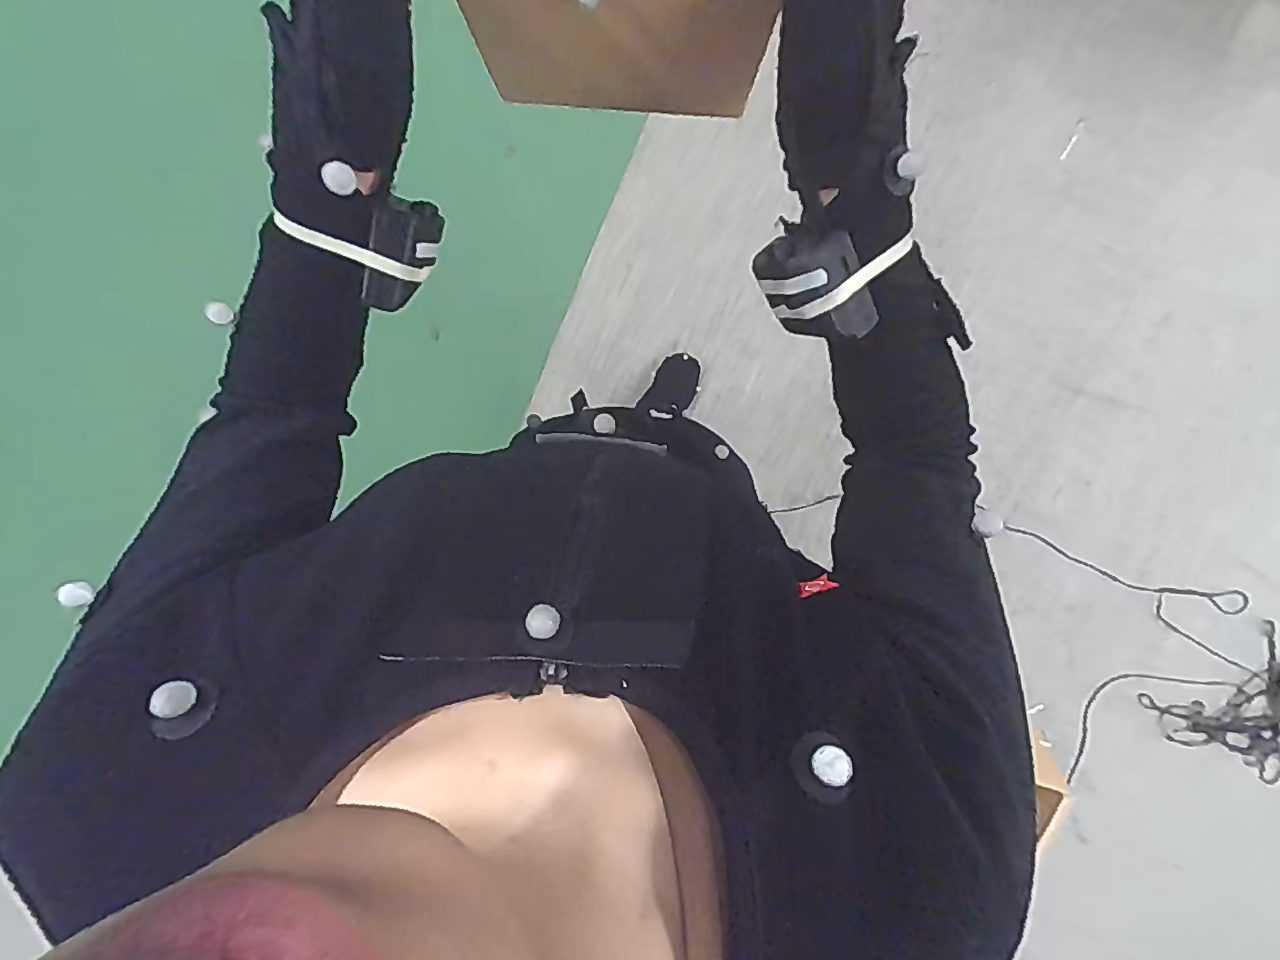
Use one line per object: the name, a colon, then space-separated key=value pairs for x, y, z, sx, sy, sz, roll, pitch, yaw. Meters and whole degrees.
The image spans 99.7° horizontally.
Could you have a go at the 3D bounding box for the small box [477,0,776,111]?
small box: x=-0.005 y=-0.338 z=0.299 sx=0.179 sy=0.176 sz=0.168 roll=4 pitch=99 yaw=-1
